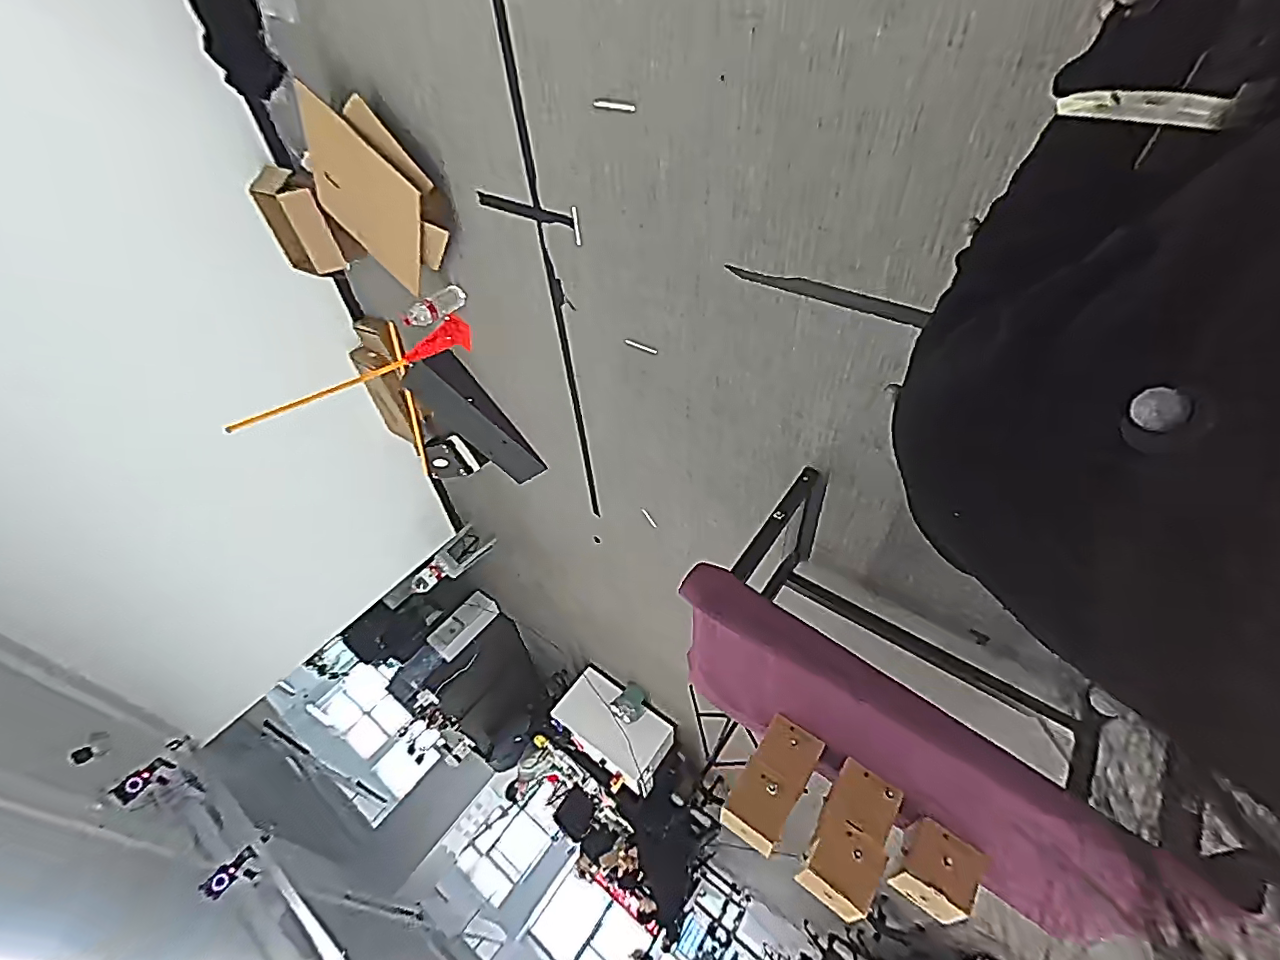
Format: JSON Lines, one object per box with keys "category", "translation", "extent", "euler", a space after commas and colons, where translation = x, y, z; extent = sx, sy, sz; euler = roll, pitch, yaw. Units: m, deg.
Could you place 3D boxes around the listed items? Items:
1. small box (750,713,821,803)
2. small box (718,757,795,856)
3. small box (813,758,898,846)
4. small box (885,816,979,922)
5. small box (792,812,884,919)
{"category": "small box", "translation": [0.449, 0.873, 1.698], "extent": [0.168, 0.176, 0.179], "euler": [26, 143, 25]}
{"category": "small box", "translation": [0.348, 0.971, 1.617], "extent": [0.168, 0.176, 0.179], "euler": [24, 141, 27]}
{"category": "small box", "translation": [0.633, 0.953, 1.582], "extent": [0.168, 0.176, 0.179], "euler": [27, 144, 26]}
{"category": "small box", "translation": [0.822, 1.085, 1.517], "extent": [0.168, 0.176, 0.179], "euler": [28, 142, 25]}
{"category": "small box", "translation": [0.548, 1.059, 1.493], "extent": [0.168, 0.176, 0.179], "euler": [28, 143, 24]}
